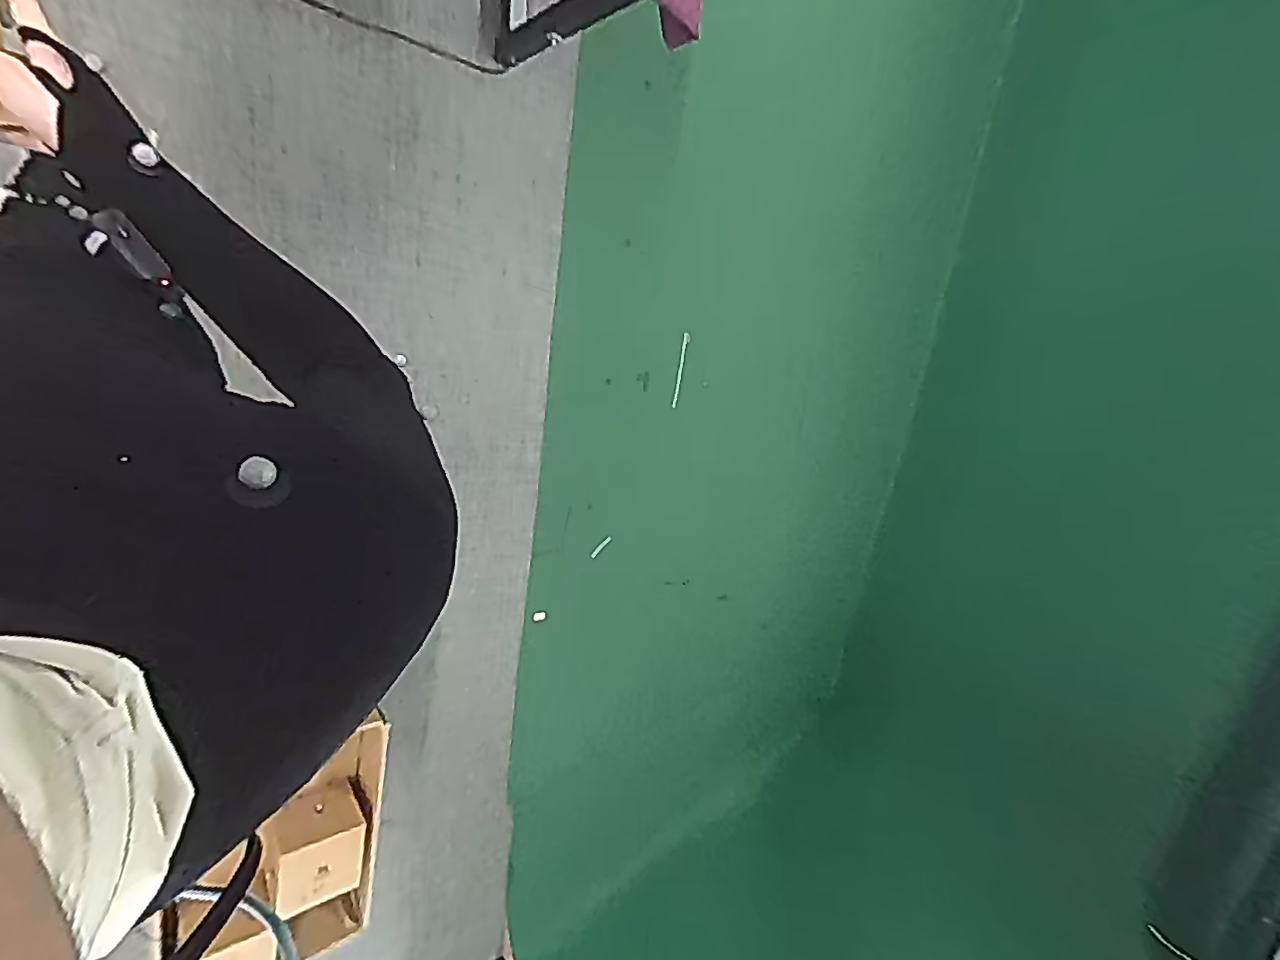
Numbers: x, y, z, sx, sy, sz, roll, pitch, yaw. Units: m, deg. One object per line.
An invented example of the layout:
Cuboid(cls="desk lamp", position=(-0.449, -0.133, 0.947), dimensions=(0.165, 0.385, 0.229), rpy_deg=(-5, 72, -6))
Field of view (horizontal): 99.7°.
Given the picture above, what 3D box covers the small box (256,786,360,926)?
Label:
Cuboid(cls="small box", position=(-0.760, 0.837, 1.231), dimensions=(0.168, 0.176, 0.179), rpy_deg=(2, 105, -43))
